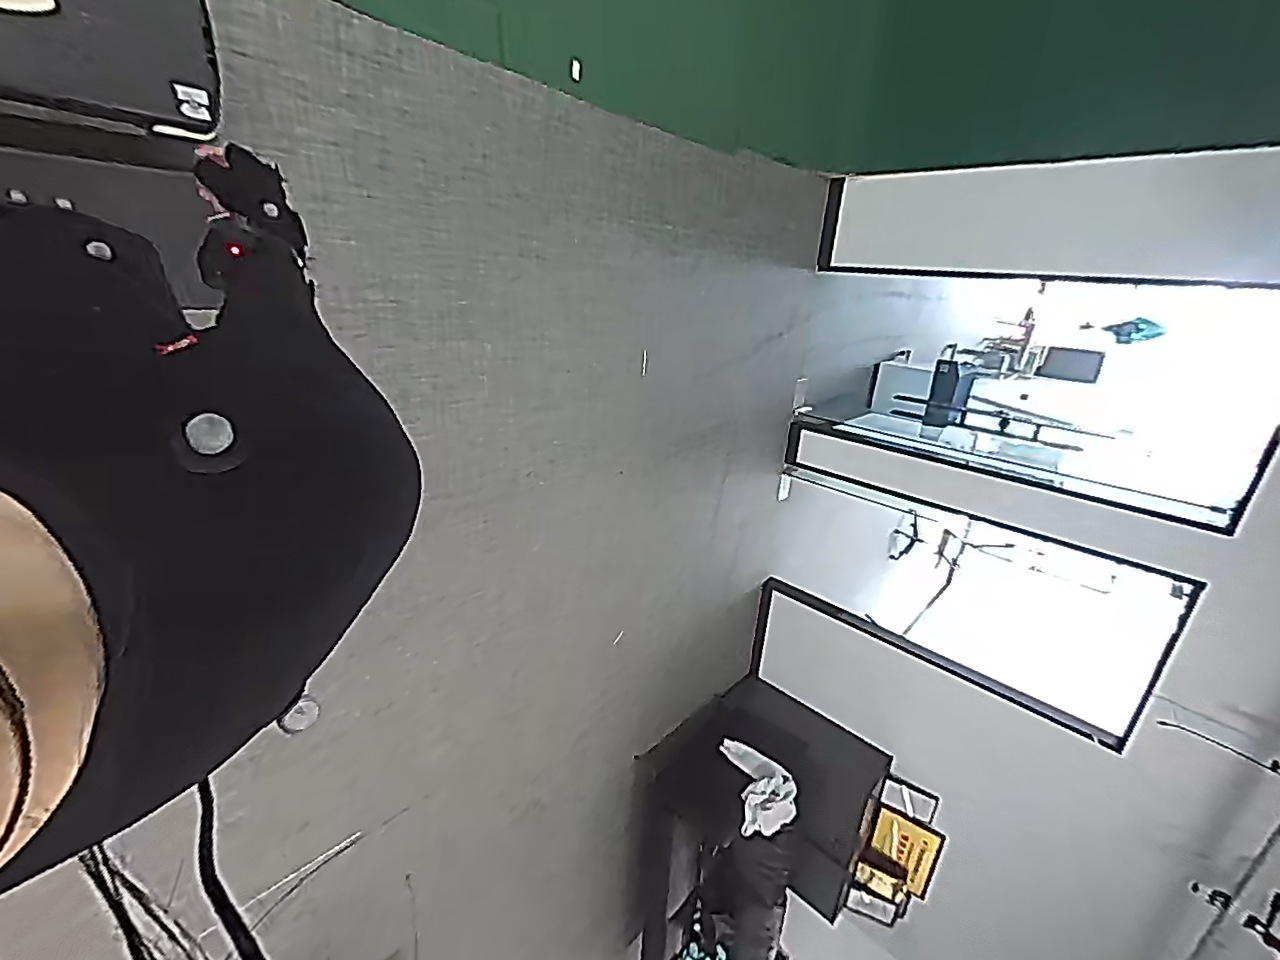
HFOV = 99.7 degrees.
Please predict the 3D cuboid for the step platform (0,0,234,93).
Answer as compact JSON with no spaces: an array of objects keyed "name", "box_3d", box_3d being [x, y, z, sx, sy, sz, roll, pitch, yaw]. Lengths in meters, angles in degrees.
[{"name":"step platform","box_3d":[-0.937,-0.726,0.659,0.684,0.204,0.286,-17,120,-43]}]
